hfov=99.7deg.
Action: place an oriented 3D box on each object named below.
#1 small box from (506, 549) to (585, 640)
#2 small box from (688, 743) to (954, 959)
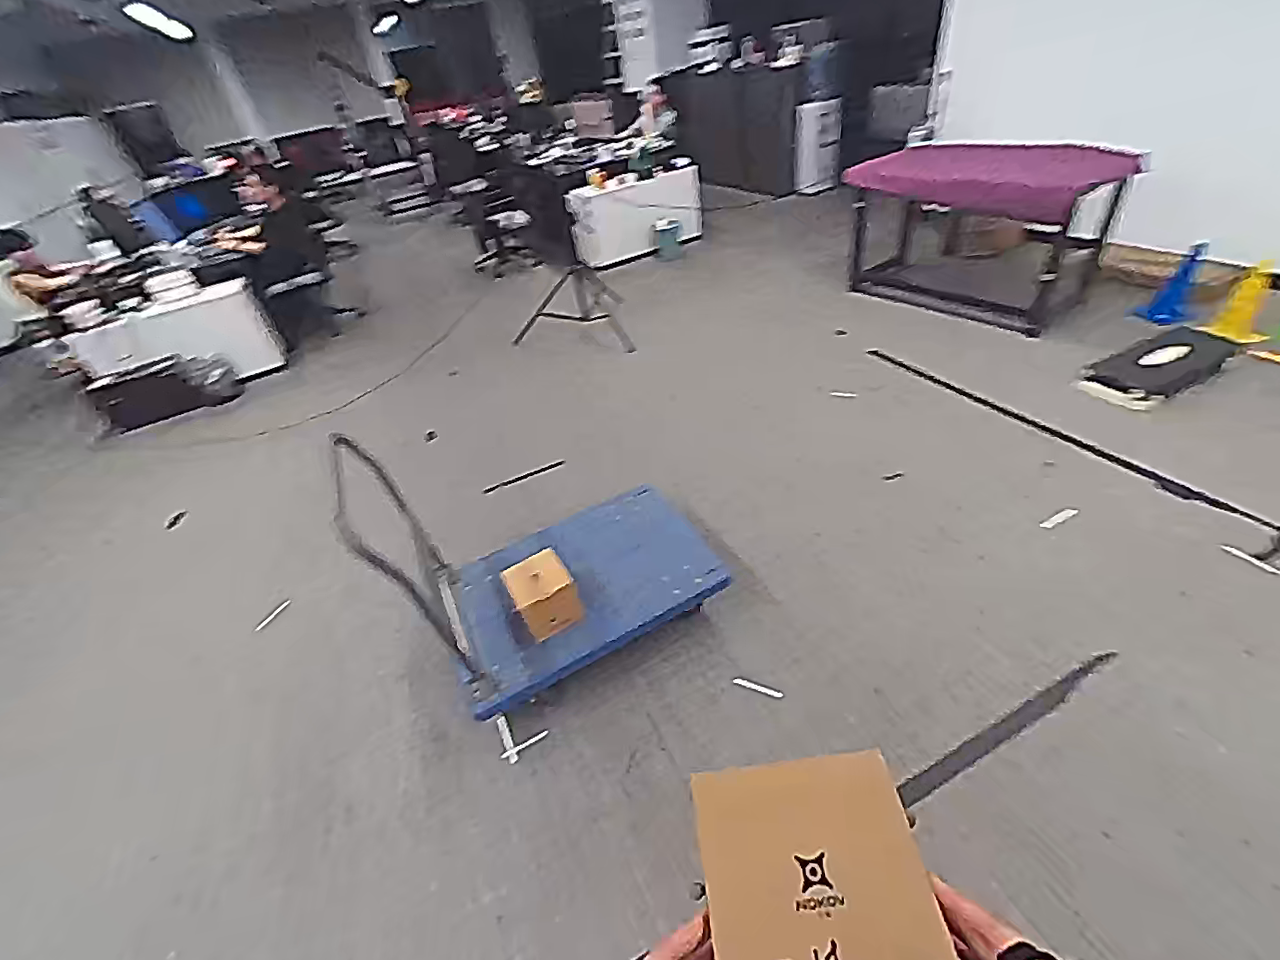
[{"bbox_3d":[-0.287,0.351,1.653,0.168,0.176,0.179,-27,42,-19],"label":"small box"},{"bbox_3d":[0.138,0.353,0.459,0.168,0.176,0.179,-10,45,3],"label":"small box"}]
